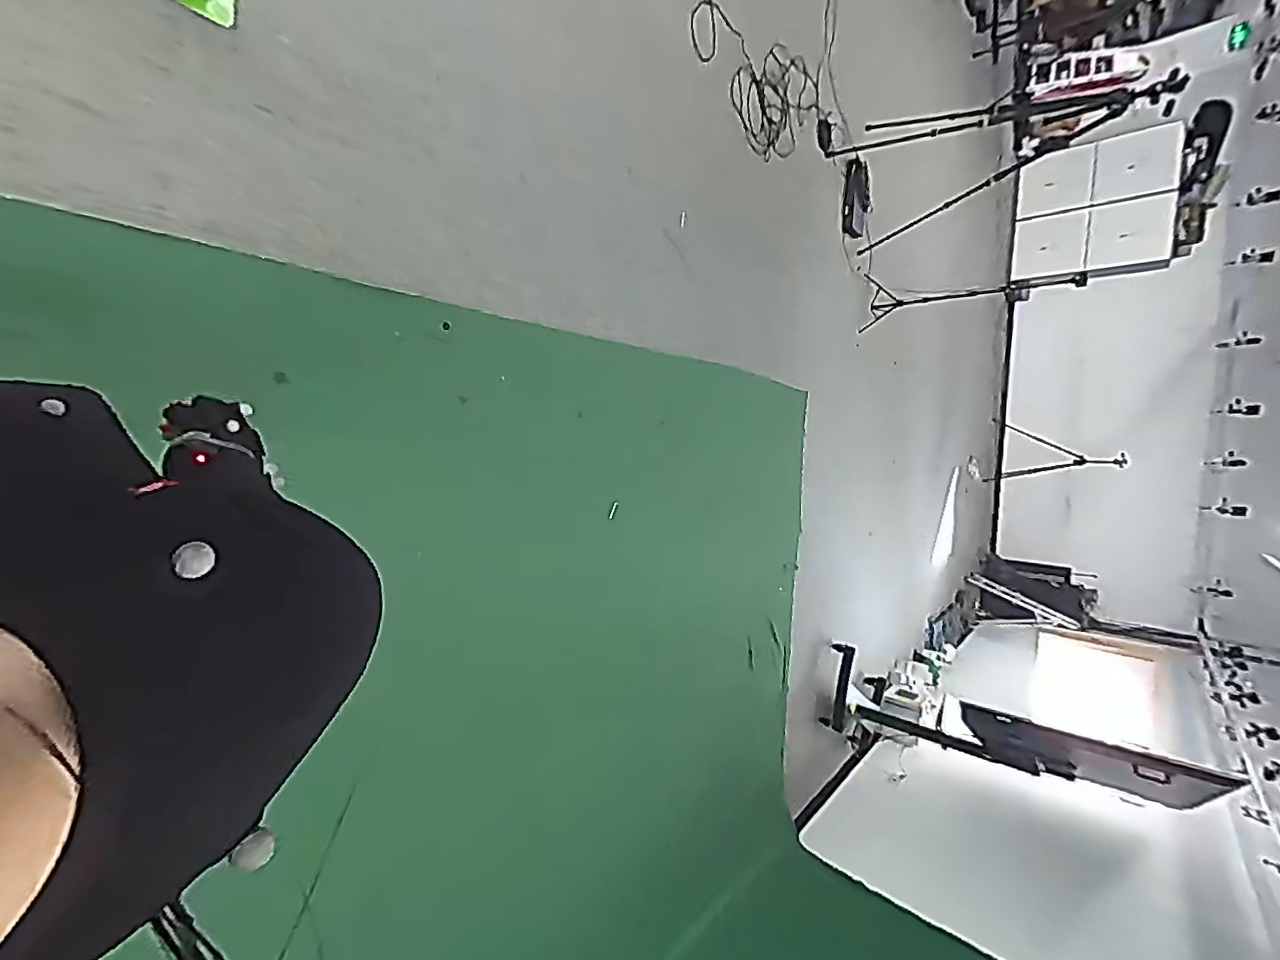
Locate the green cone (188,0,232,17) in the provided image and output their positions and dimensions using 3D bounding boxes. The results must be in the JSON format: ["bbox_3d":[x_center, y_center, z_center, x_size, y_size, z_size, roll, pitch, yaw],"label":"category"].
[{"bbox_3d":[-0.843,-1.107,1.013,0.200,0.368,0.202,2,92,-49],"label":"green cone"}]
